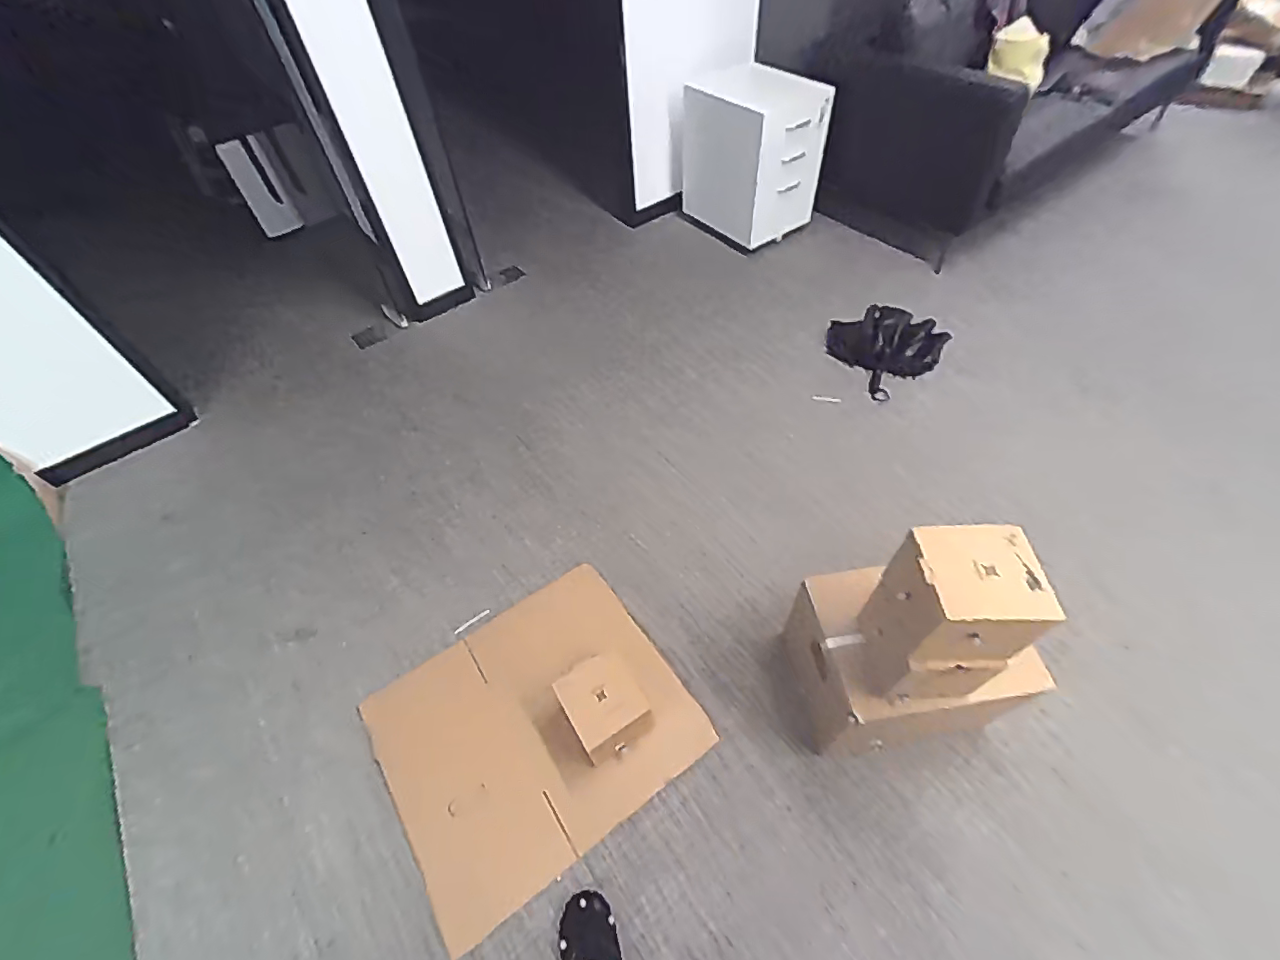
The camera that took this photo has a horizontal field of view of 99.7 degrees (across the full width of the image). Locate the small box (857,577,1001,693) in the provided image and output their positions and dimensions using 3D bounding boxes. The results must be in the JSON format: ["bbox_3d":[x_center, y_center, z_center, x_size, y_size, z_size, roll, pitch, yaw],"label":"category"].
[{"bbox_3d":[0.532,0.296,1.024,0.168,0.176,0.179,-3,51,2],"label":"small box"}]

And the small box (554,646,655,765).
[{"bbox_3d":[-0.078,0.529,1.264,0.168,0.176,0.179,-30,56,-17],"label":"small box"}]

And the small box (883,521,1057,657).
[{"bbox_3d":[0.529,0.187,0.906,0.179,0.176,0.168,-3,50,1],"label":"small box"}]
